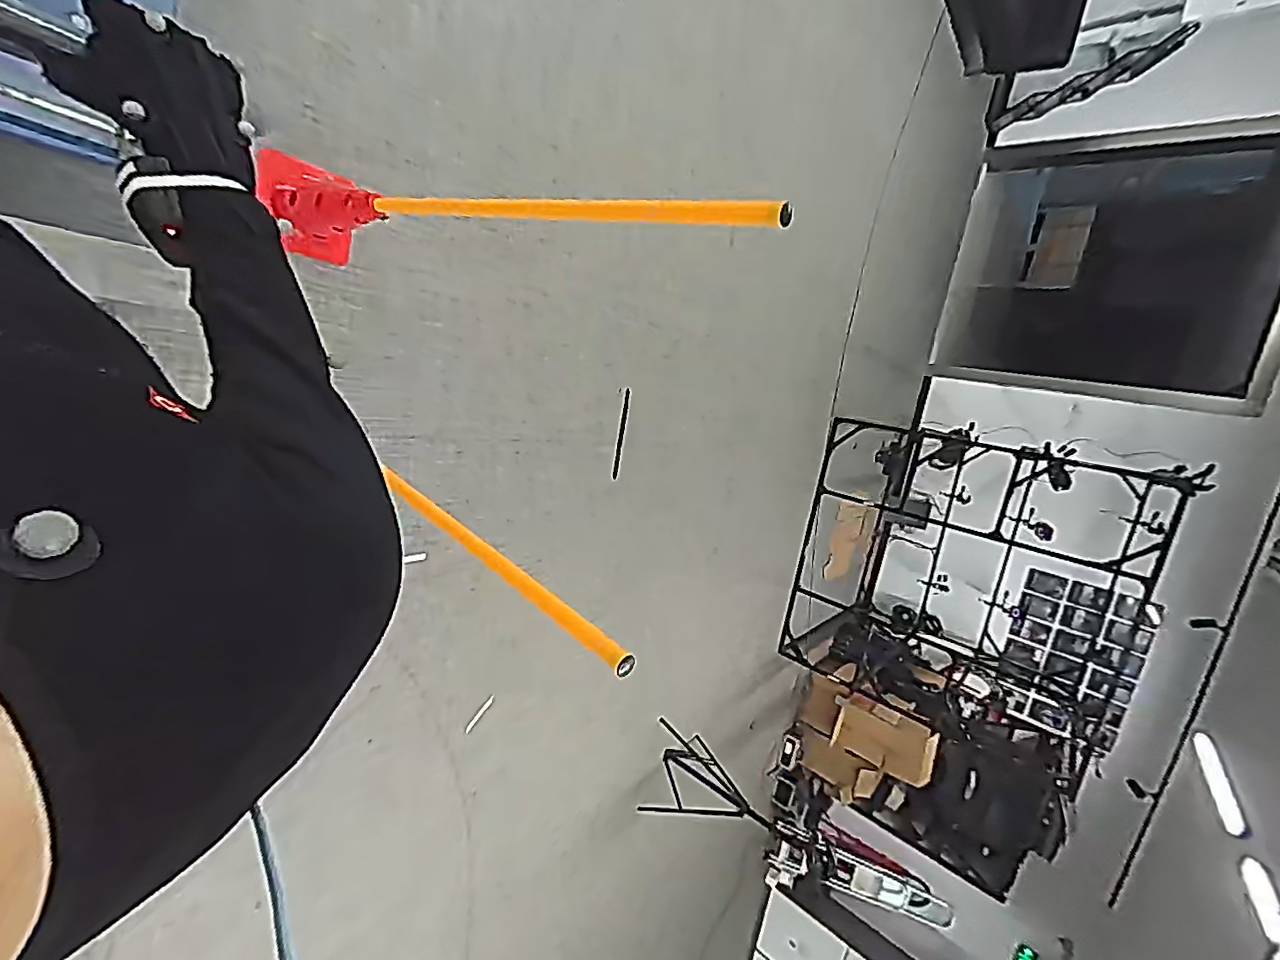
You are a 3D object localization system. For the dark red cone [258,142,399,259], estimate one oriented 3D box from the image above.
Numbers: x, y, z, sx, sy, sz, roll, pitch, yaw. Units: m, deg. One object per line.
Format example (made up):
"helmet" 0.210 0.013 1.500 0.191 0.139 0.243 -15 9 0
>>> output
"dark red cone" -0.622 -0.586 1.129 0.201 0.394 0.202 -3 108 -53
